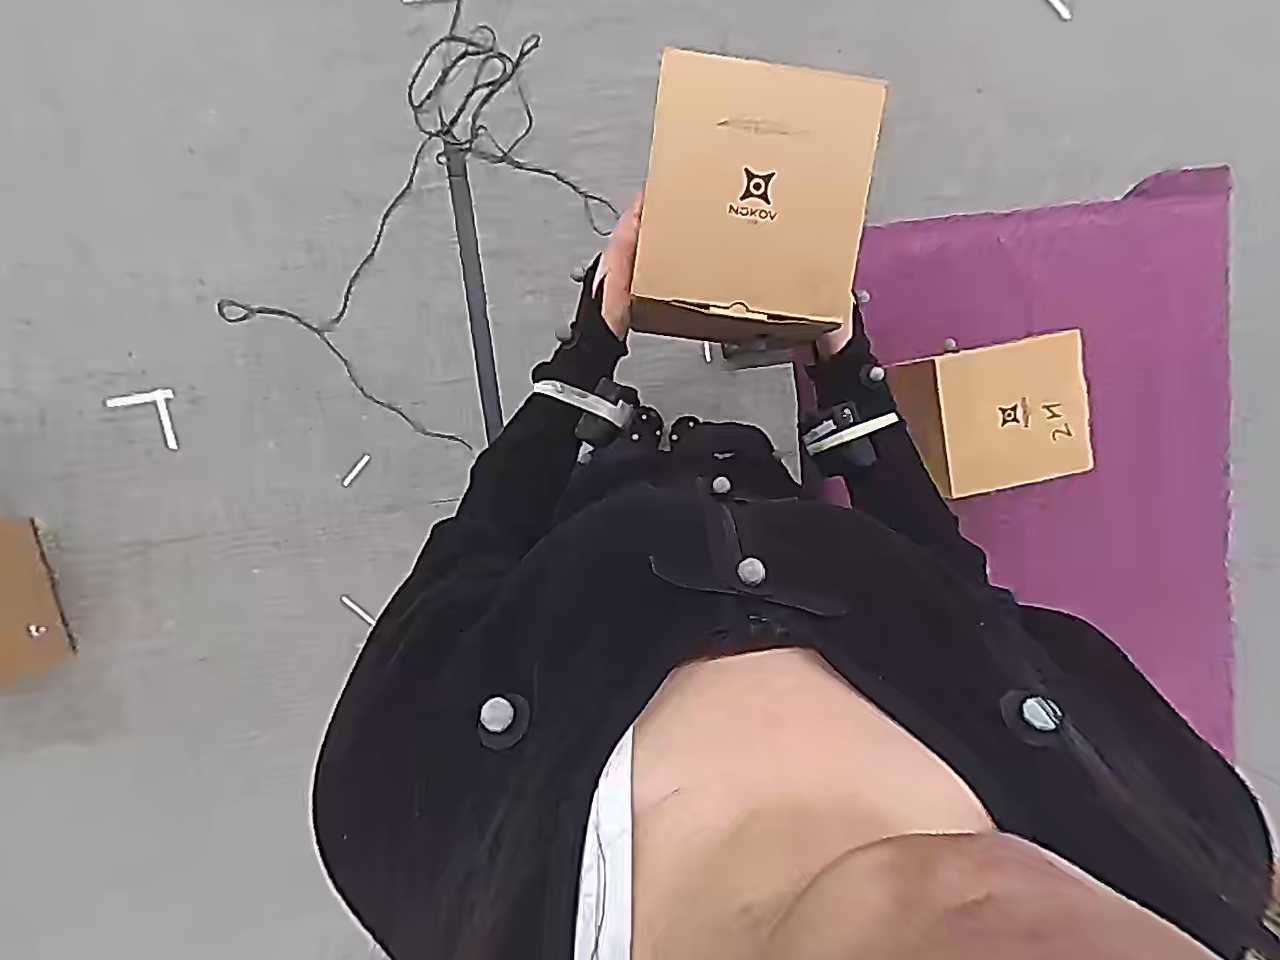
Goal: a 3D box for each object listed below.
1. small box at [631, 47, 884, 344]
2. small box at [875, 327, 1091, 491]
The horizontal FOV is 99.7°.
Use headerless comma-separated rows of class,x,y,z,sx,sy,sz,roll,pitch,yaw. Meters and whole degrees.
small box,0.084,-0.223,0.475,0.168,0.176,0.179,6,97,-3
small box,0.425,-0.088,0.700,0.179,0.176,0.168,-11,98,-2
